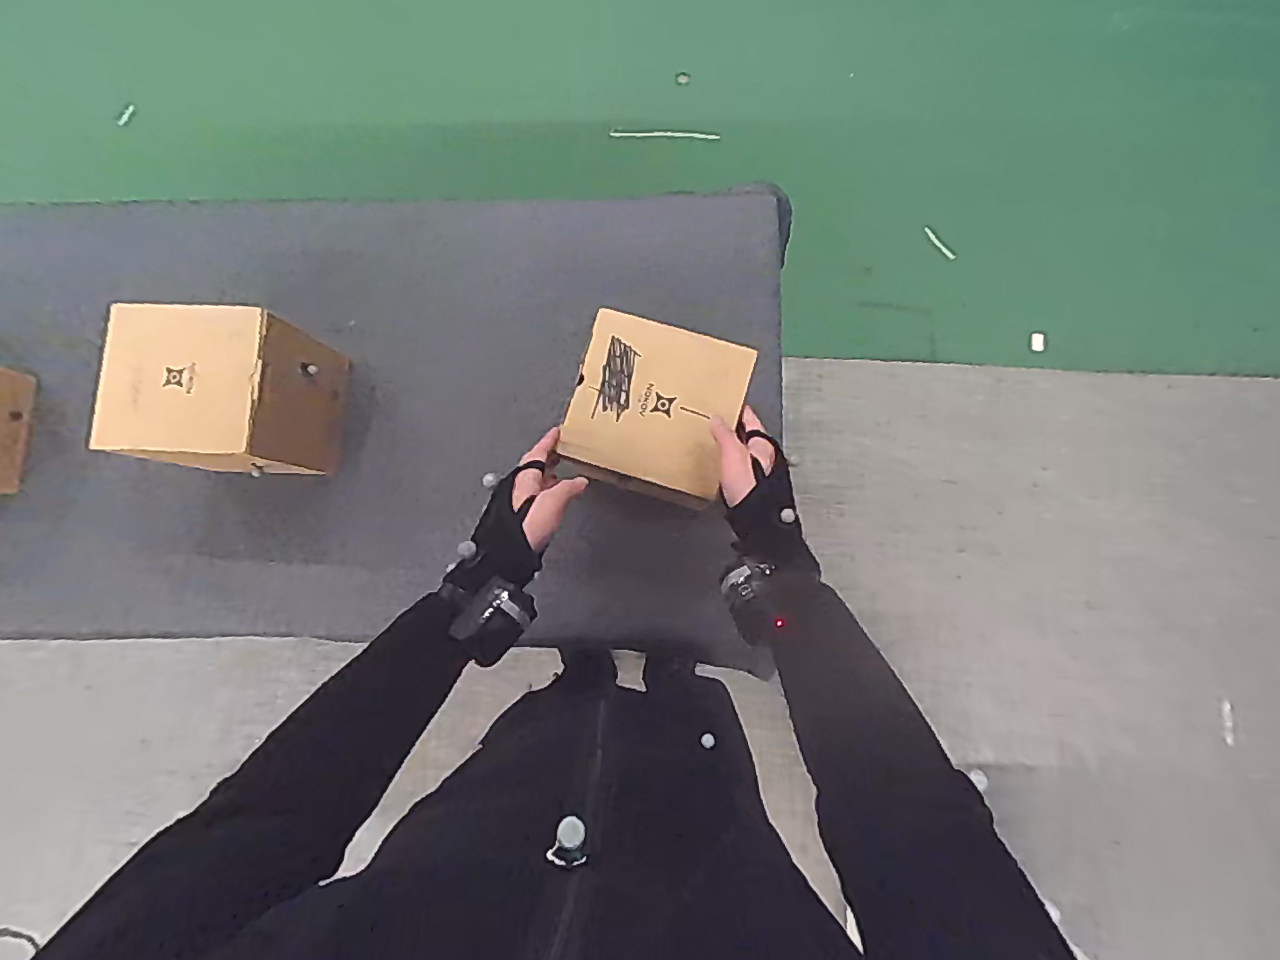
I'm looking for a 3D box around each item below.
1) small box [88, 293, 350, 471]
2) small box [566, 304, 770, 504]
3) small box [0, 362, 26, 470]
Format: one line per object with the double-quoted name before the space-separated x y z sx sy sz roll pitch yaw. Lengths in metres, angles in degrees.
"small box" -0.480 -0.106 0.647 0.179 0.176 0.168 2 81 2
"small box" 0.031 -0.074 0.631 0.179 0.176 0.168 16 83 3
"small box" -0.919 -0.086 0.649 0.179 0.176 0.168 2 82 0
